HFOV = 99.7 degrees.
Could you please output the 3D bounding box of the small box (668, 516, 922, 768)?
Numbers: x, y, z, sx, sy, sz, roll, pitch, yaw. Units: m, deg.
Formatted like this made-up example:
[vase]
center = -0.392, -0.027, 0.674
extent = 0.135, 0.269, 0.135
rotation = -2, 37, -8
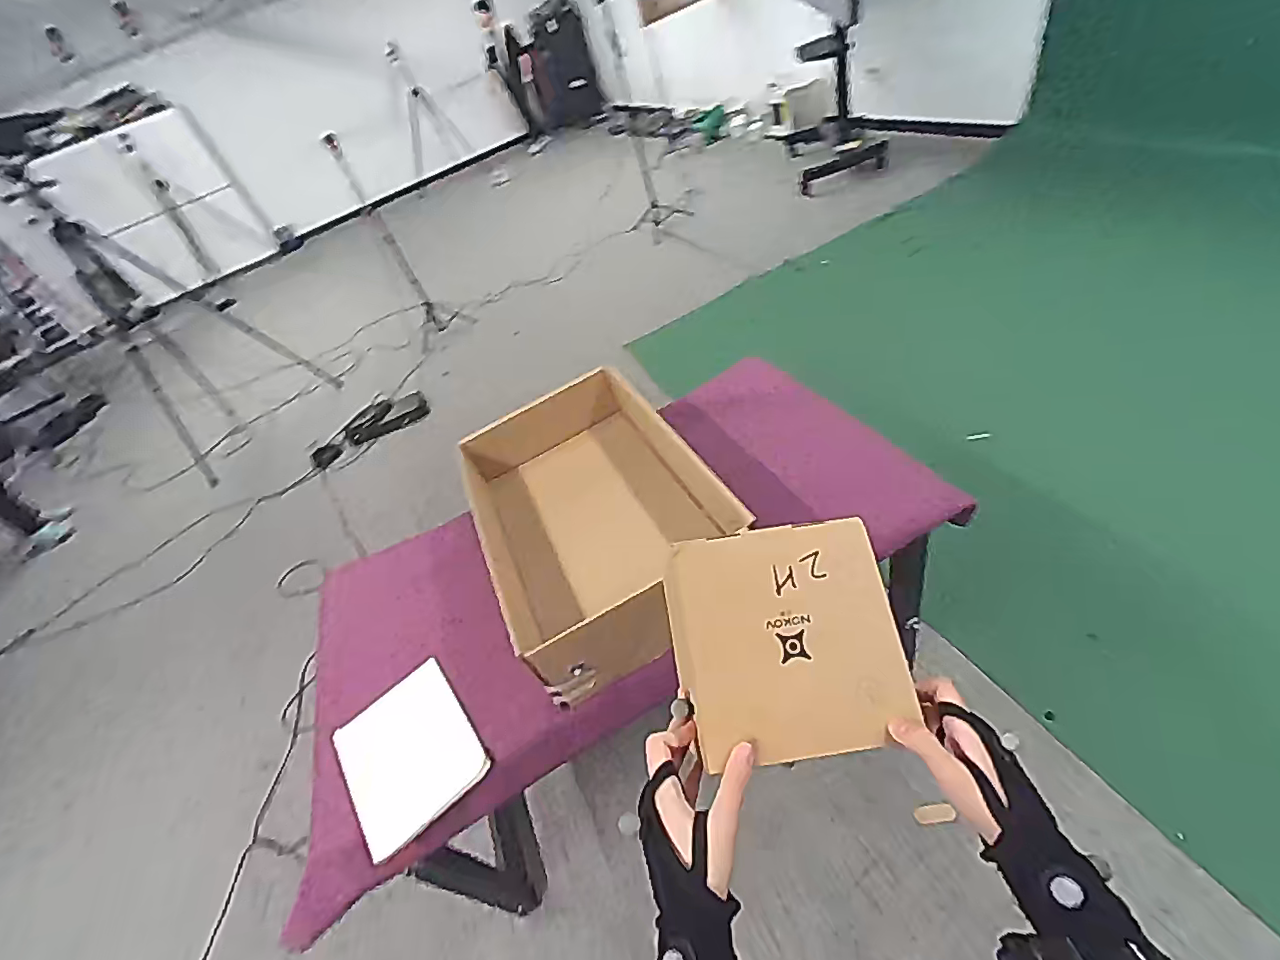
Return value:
[small box]
center = 0.118, 0.147, 0.494
extent = 0.168, 0.176, 0.179
rotation = -6, 68, -2
